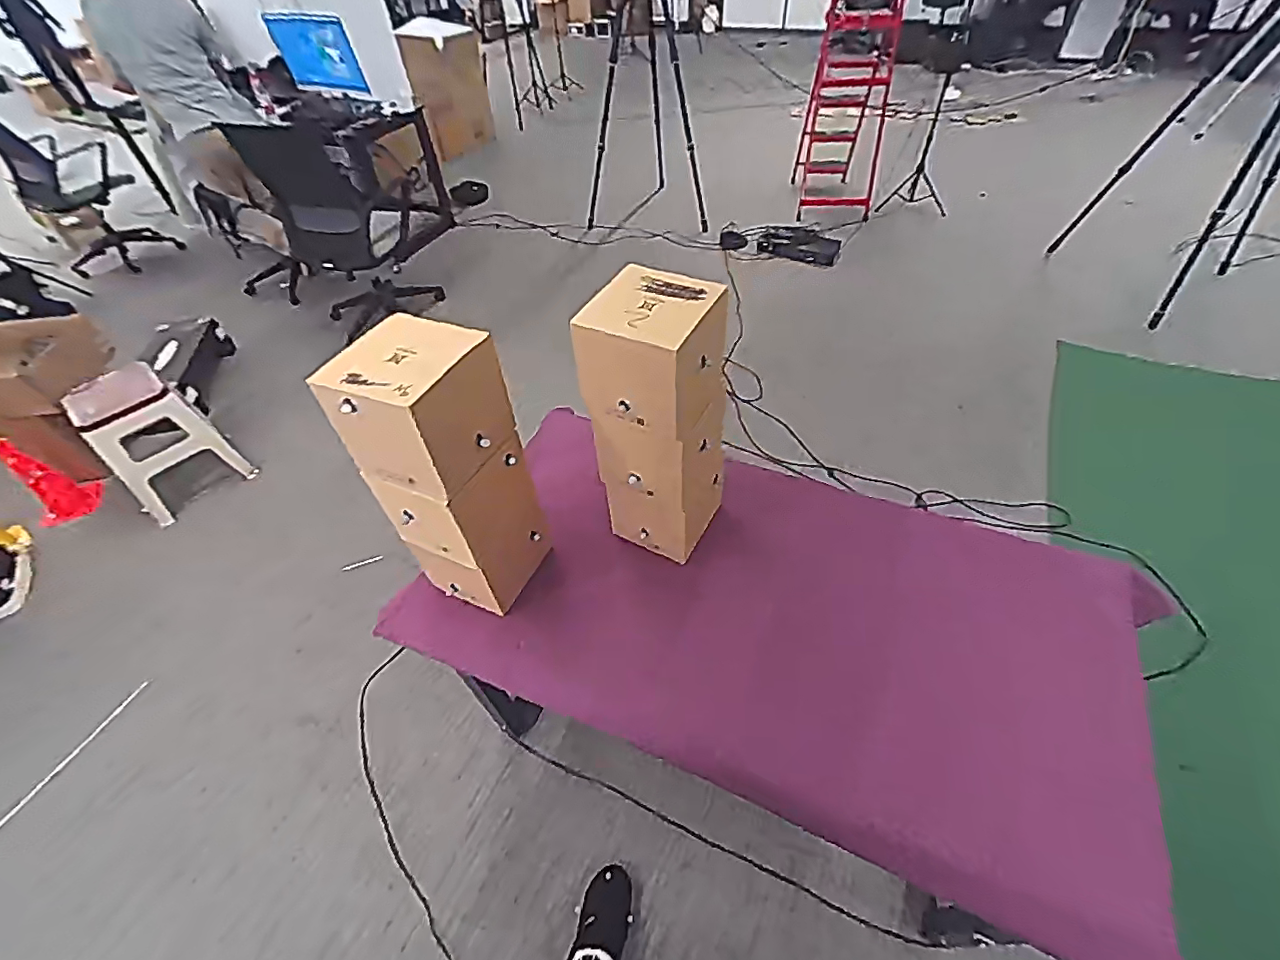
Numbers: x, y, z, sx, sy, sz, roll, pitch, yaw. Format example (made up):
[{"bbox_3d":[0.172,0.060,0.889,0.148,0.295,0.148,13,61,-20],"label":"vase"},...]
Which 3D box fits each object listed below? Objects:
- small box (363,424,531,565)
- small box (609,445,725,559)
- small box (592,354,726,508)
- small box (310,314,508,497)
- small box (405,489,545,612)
[{"bbox_3d":[-0.298,0.009,0.881,0.168,0.176,0.179,17,50,19],"label":"small box"},{"bbox_3d":[0.051,0.021,1.062,0.168,0.176,0.179,22,54,22],"label":"small box"},{"bbox_3d":[0.036,-0.085,0.938,0.168,0.176,0.179,20,54,20],"label":"small box"},{"bbox_3d":[-0.306,-0.107,0.764,0.168,0.176,0.179,15,49,18],"label":"small box"},{"bbox_3d":[-0.292,0.111,1.006,0.168,0.176,0.179,17,51,19],"label":"small box"}]
